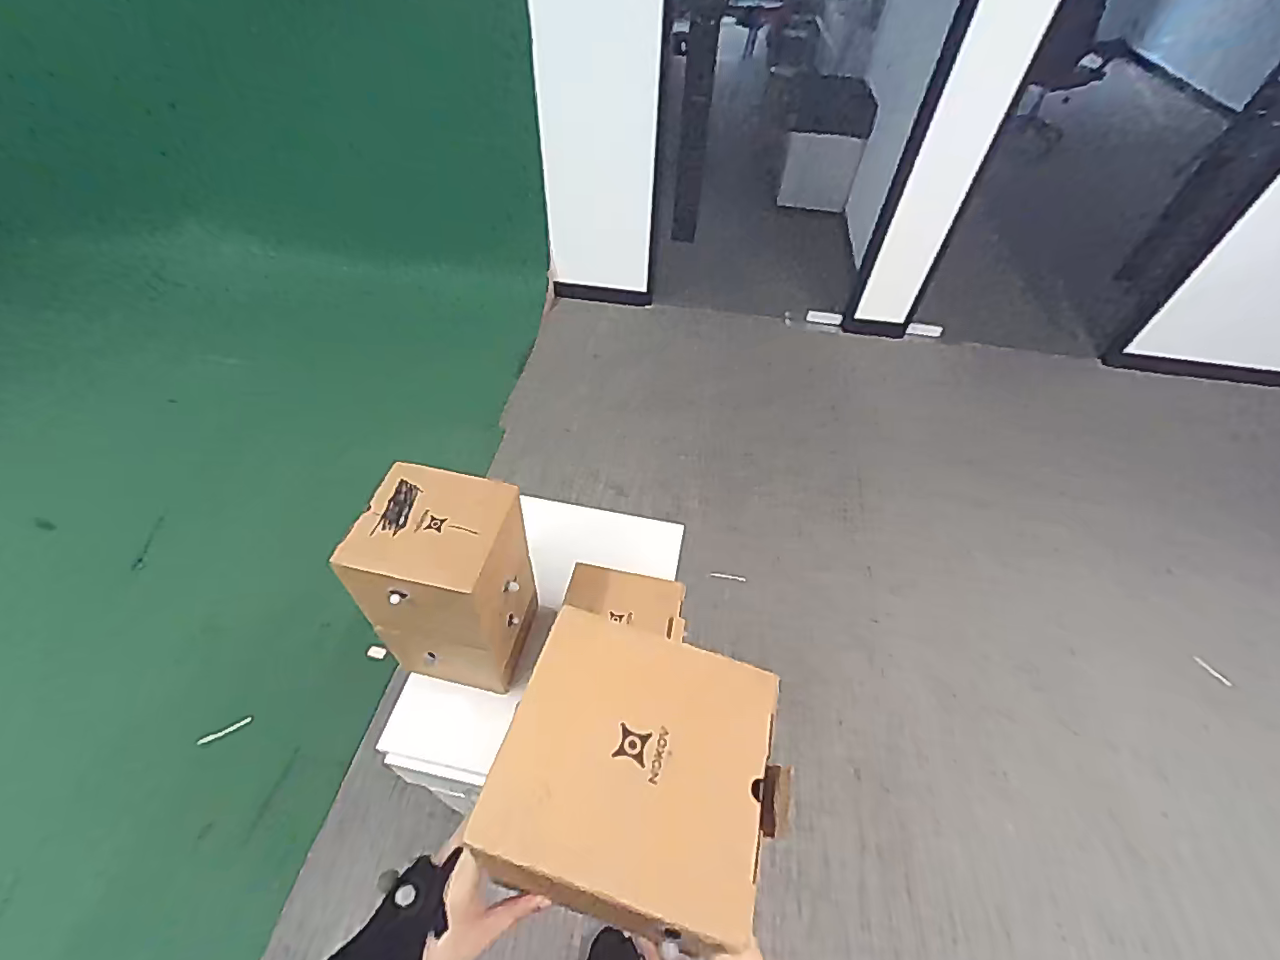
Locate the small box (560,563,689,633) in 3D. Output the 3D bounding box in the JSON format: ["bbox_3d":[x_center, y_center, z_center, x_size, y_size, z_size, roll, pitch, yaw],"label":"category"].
[{"bbox_3d":[-0.027,0.254,0.837,0.179,0.176,0.168,9,49,7],"label":"small box"}]

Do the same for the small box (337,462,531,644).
[{"bbox_3d":[-0.260,0.103,0.732,0.179,0.176,0.168,12,51,4],"label":"small box"}]

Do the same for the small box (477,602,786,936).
[{"bbox_3d":[-0.004,0.227,0.421,0.179,0.176,0.168,17,48,5],"label":"small box"}]

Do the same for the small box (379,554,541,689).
[{"bbox_3d":[-0.269,0.211,0.856,0.179,0.176,0.168,11,51,5],"label":"small box"}]
